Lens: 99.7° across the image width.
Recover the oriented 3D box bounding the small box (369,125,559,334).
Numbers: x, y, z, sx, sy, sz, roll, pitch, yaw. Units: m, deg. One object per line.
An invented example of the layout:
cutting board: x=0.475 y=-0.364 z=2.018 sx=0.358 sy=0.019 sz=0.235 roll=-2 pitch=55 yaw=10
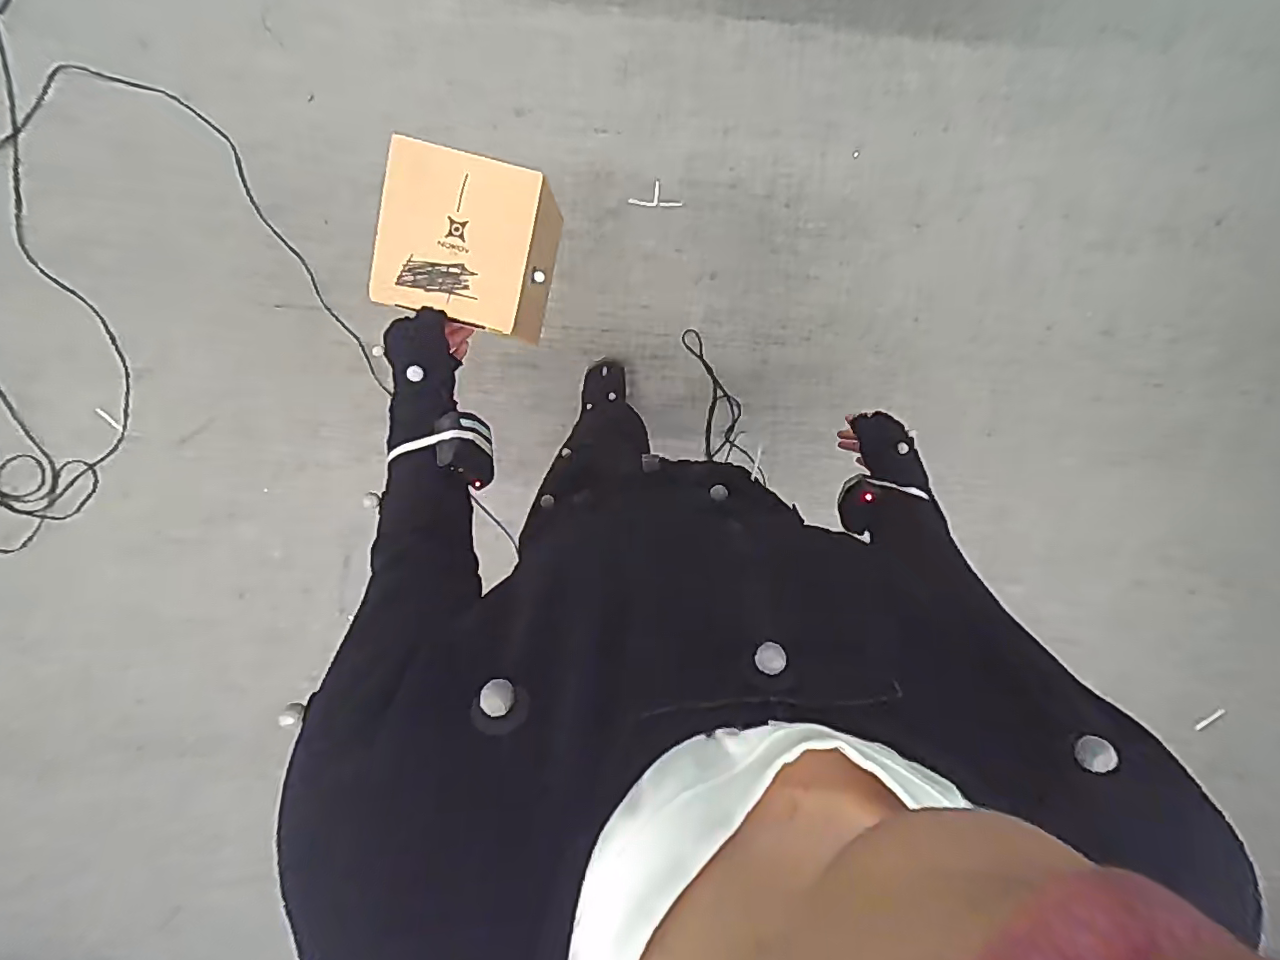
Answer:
small box: x=-0.203 y=-0.287 z=0.666 sx=0.168 sy=0.176 sz=0.179 roll=13 pitch=100 yaw=-3
